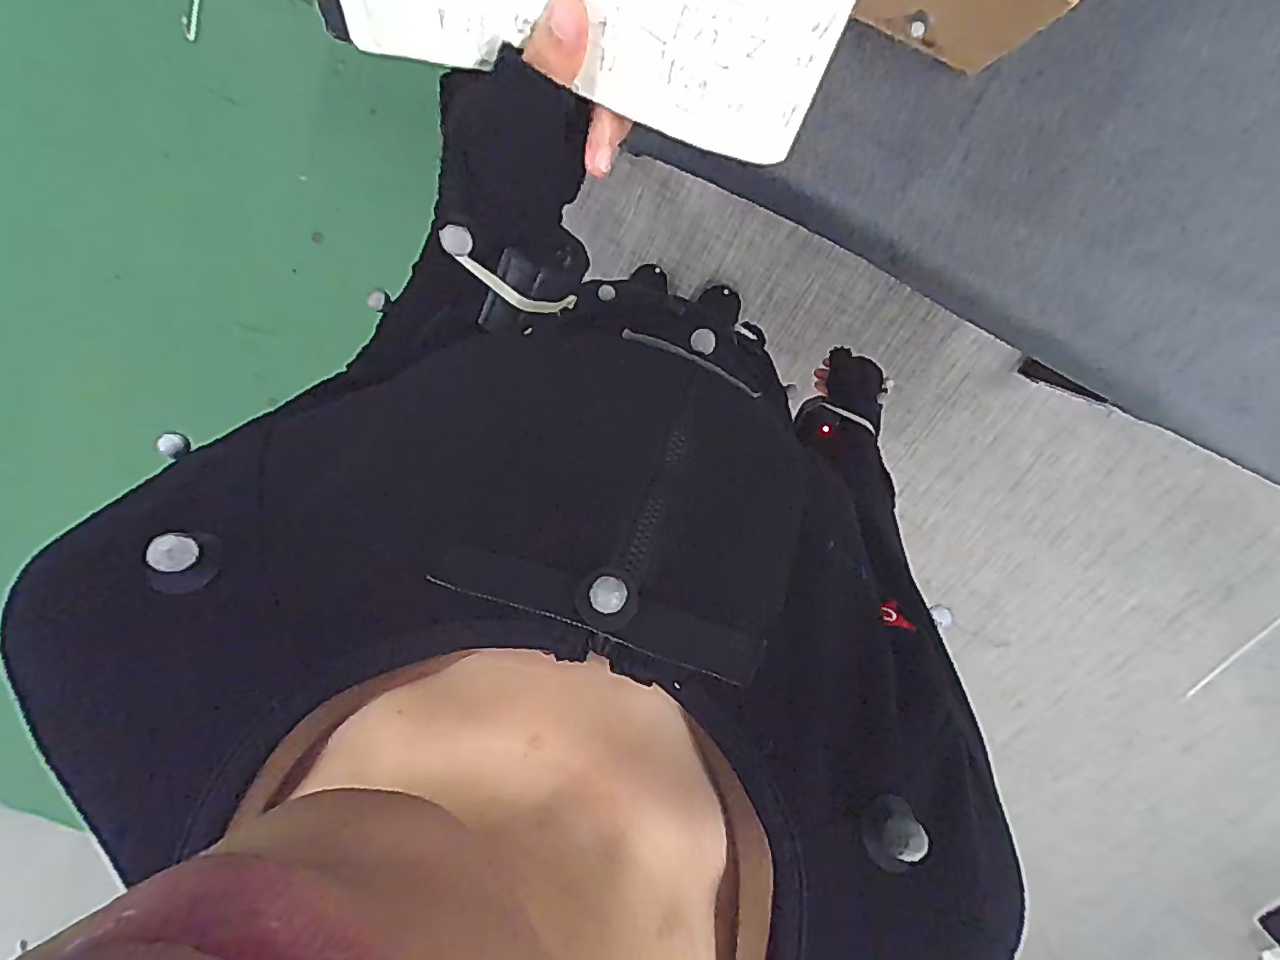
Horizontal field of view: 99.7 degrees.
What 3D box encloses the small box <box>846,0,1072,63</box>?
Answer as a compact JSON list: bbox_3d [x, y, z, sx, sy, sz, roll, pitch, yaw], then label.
[{"bbox_3d":[0.292,-0.492,0.437,0.168,0.176,0.179,23,112,-3],"label":"small box"}]
